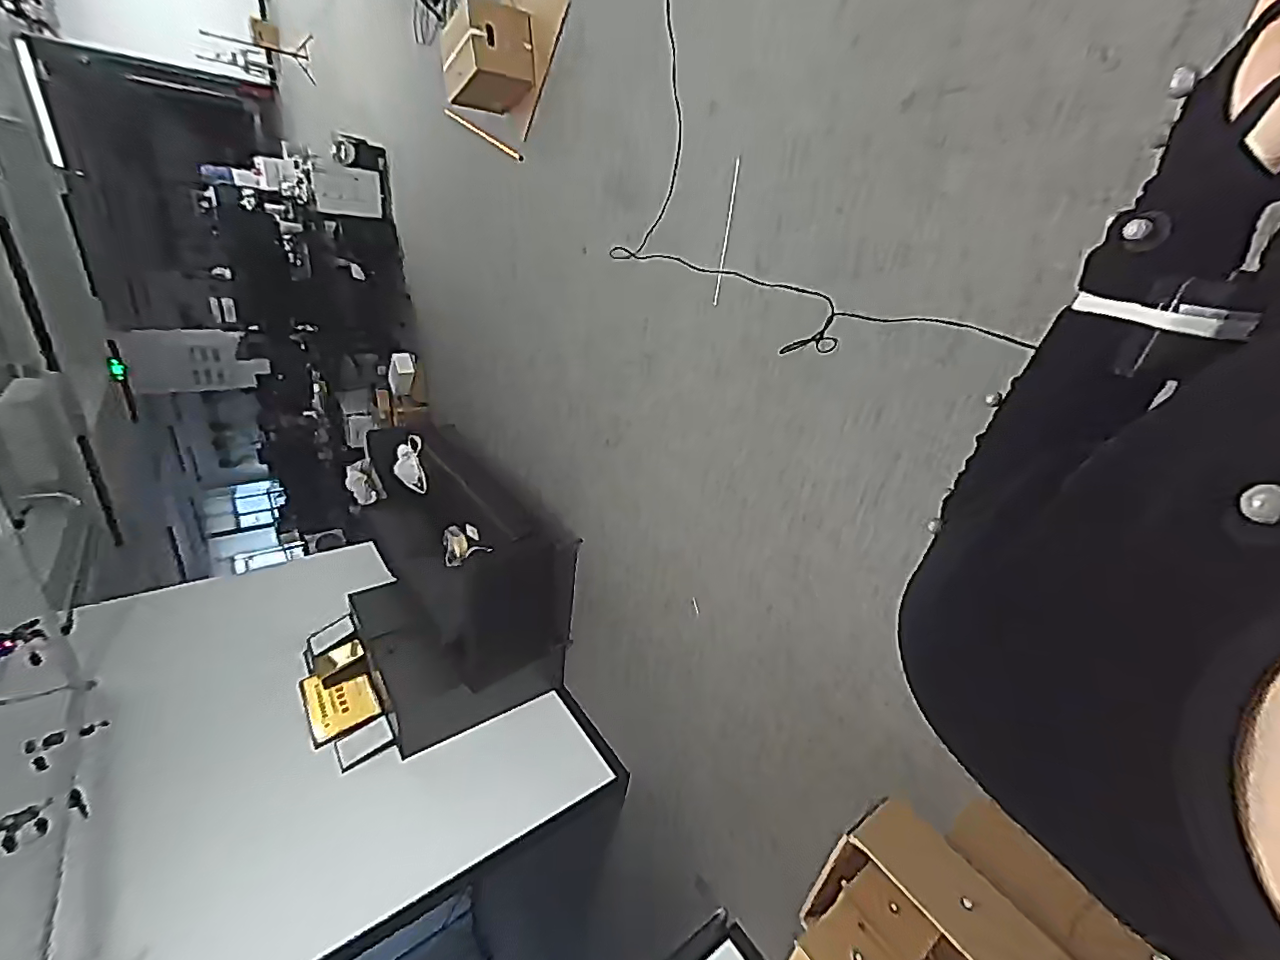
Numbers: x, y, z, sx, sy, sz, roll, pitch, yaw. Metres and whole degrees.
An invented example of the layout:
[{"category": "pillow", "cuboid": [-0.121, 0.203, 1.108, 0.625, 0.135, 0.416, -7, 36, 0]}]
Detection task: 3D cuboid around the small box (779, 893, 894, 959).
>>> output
[{"category": "small box", "cuboid": [0.417, 1.037, 1.148, 0.168, 0.176, 0.179, 39, 129, 42]}]
